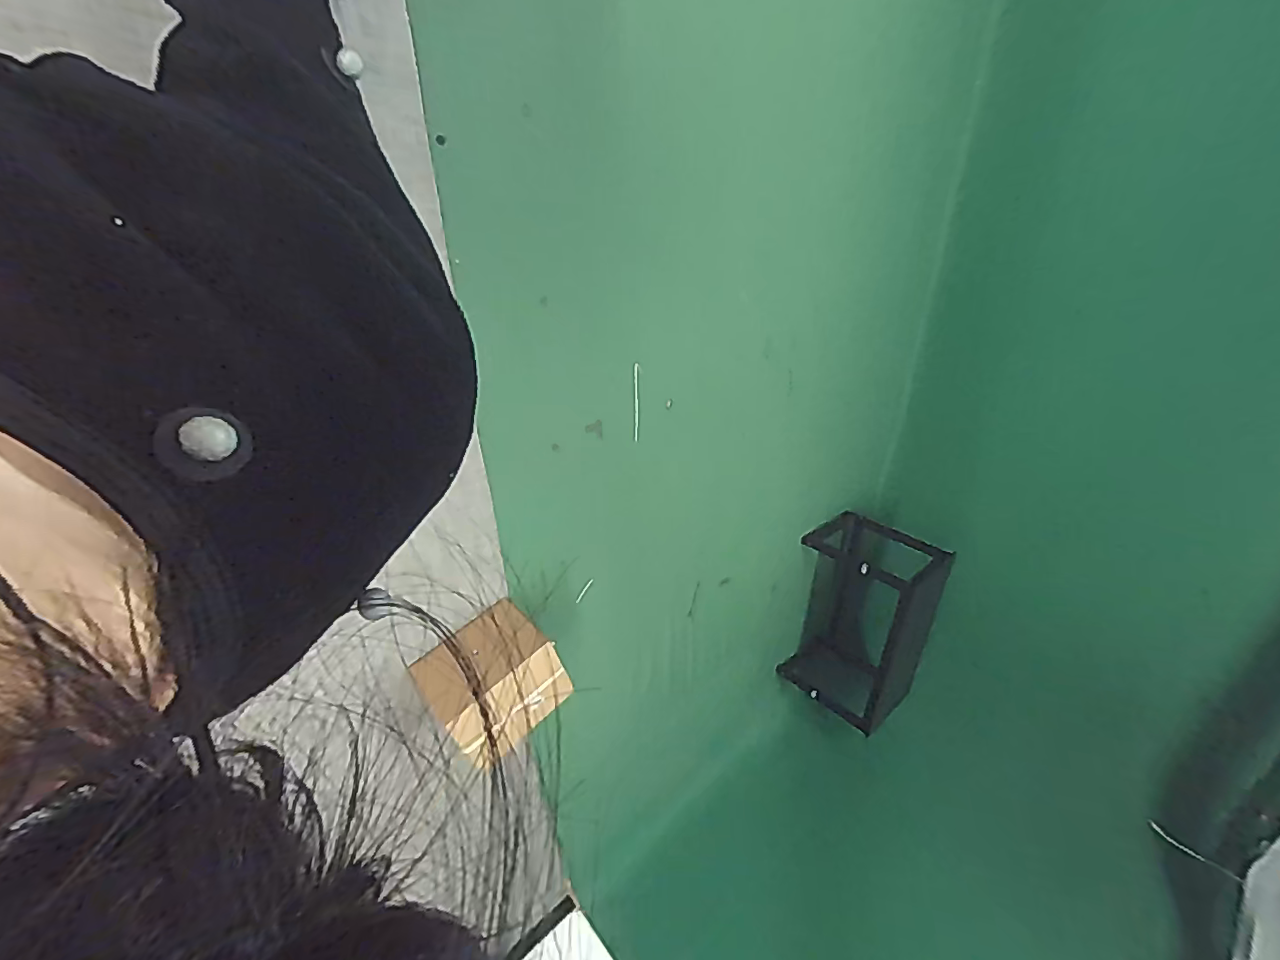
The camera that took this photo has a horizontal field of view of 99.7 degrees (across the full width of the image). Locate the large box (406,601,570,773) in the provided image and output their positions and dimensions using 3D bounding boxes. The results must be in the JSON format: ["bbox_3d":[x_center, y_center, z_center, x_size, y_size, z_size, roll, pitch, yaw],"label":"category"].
[{"bbox_3d":[-0.526,0.712,1.903,0.408,0.320,0.320,-37,133,-28],"label":"large box"}]
